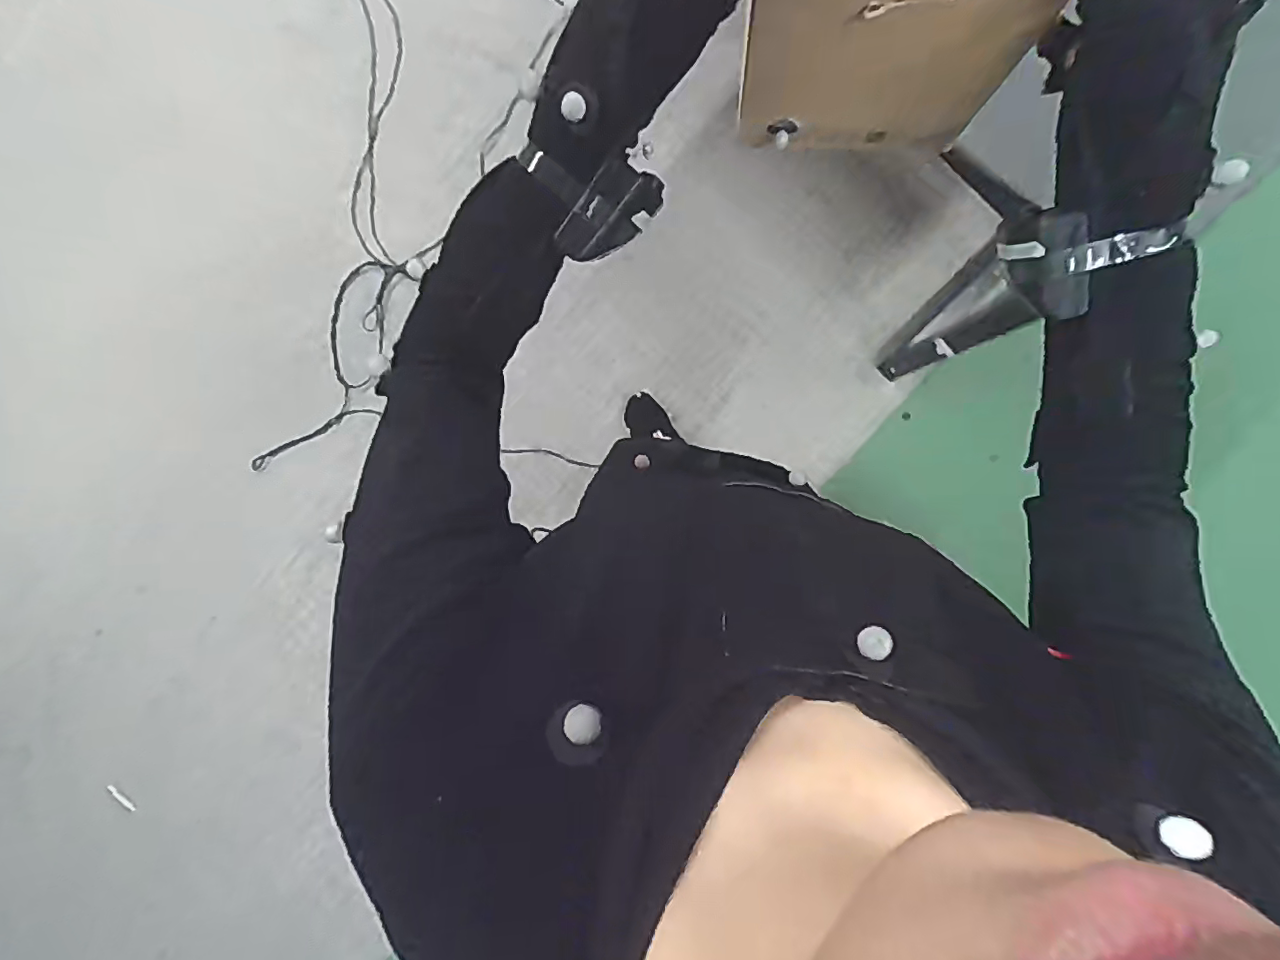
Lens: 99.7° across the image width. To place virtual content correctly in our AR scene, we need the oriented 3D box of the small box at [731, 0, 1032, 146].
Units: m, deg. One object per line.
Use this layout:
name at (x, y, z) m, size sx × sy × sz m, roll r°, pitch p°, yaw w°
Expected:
small box at (0.149, -0.345, 0.348) m, size 0.168 × 0.176 × 0.179 m, roll 4°, pitch 93°, yaw 6°
